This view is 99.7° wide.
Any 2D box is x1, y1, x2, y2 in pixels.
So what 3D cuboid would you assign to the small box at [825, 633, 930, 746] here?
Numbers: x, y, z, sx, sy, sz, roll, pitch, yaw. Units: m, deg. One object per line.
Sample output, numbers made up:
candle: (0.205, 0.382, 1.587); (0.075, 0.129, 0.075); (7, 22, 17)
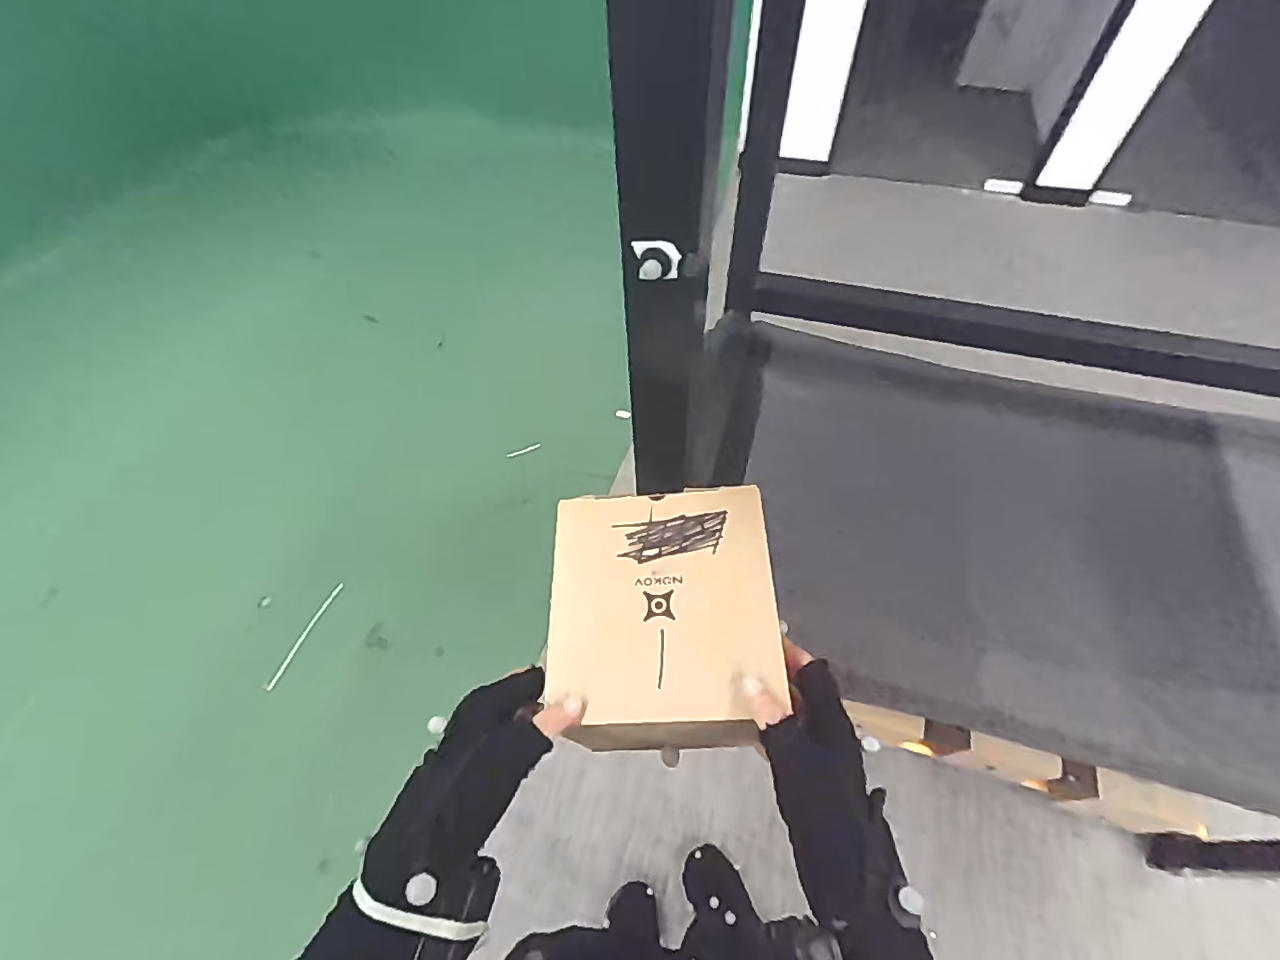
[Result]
small box: (0.518, 0.468, 1.194); (0.168, 0.176, 0.179); (14, 58, 11)
